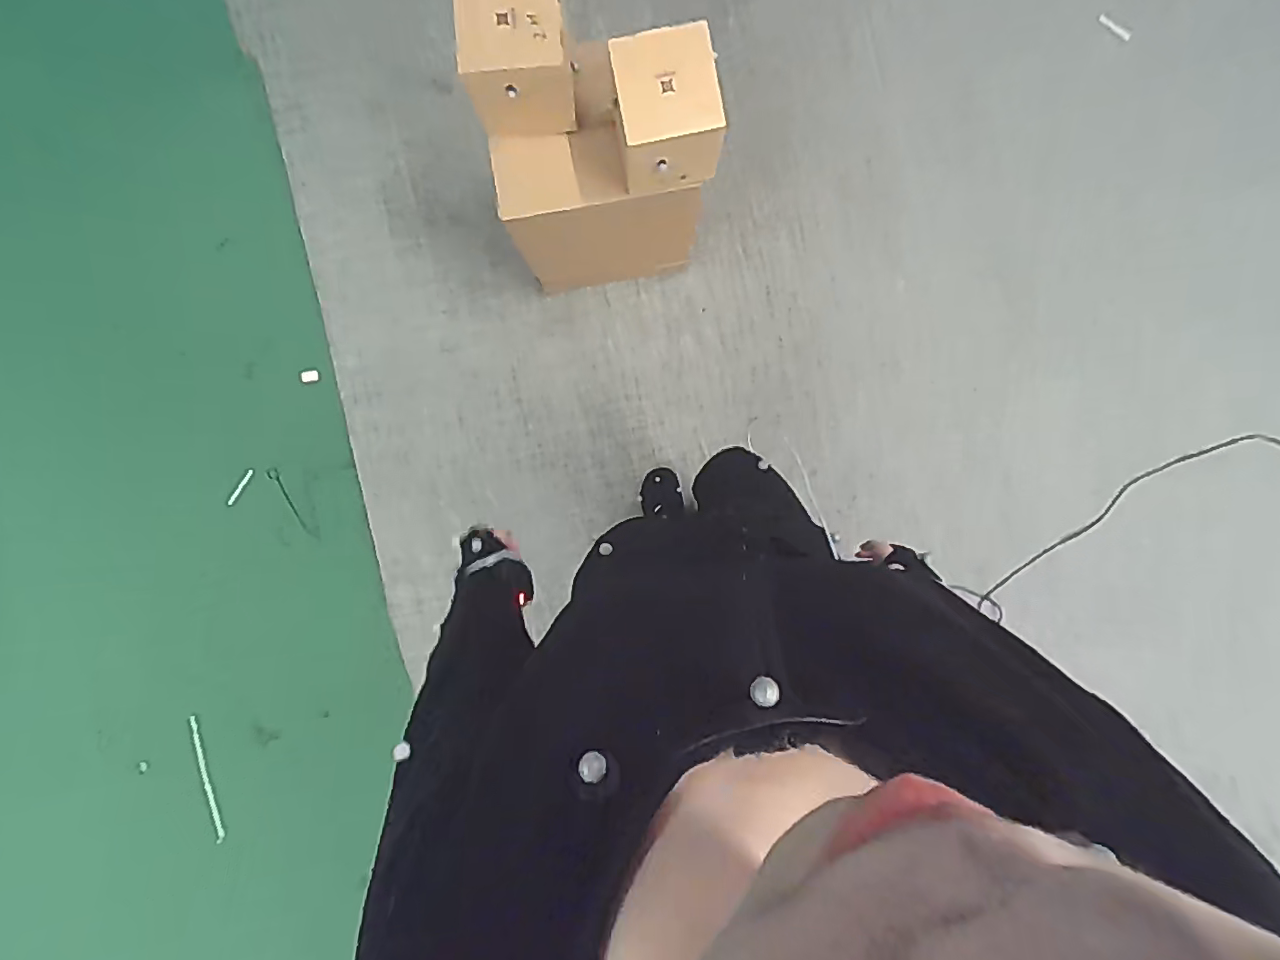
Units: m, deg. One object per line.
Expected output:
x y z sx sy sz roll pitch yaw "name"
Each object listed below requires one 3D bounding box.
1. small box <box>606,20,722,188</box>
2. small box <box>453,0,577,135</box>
0.042 -0.643 0.952 0.168 0.176 0.179 -11 91 1 "small box"
-0.215 -0.744 0.959 0.179 0.176 0.168 -4 90 1 "small box"
